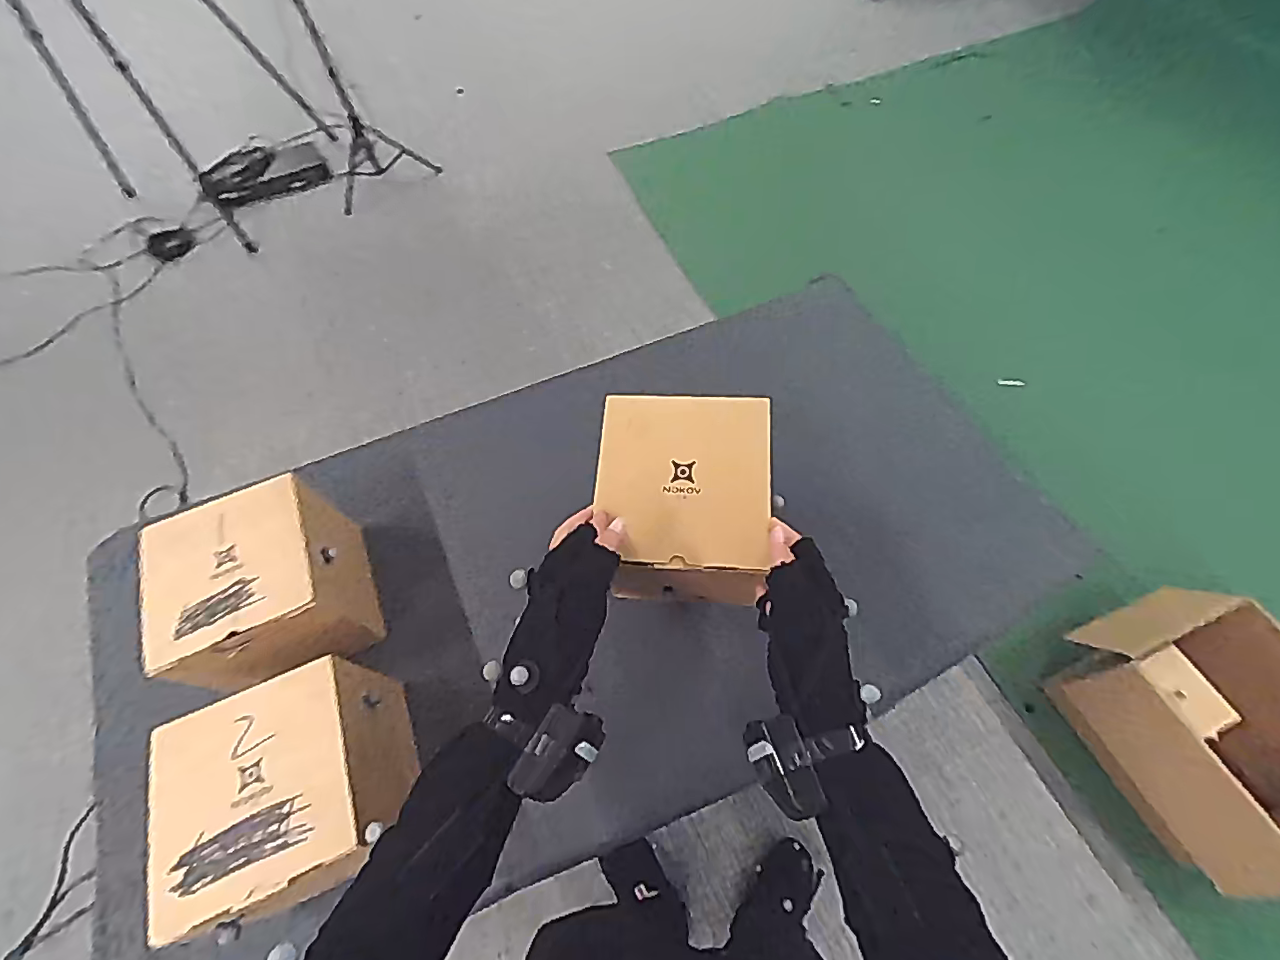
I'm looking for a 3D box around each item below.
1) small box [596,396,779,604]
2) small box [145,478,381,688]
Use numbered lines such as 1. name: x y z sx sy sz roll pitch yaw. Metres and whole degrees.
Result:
1. small box: 0.054 0.028 0.584 0.168 0.176 0.179 2 69 7
2. small box: -0.439 0.133 0.649 0.168 0.176 0.179 -24 62 -11
